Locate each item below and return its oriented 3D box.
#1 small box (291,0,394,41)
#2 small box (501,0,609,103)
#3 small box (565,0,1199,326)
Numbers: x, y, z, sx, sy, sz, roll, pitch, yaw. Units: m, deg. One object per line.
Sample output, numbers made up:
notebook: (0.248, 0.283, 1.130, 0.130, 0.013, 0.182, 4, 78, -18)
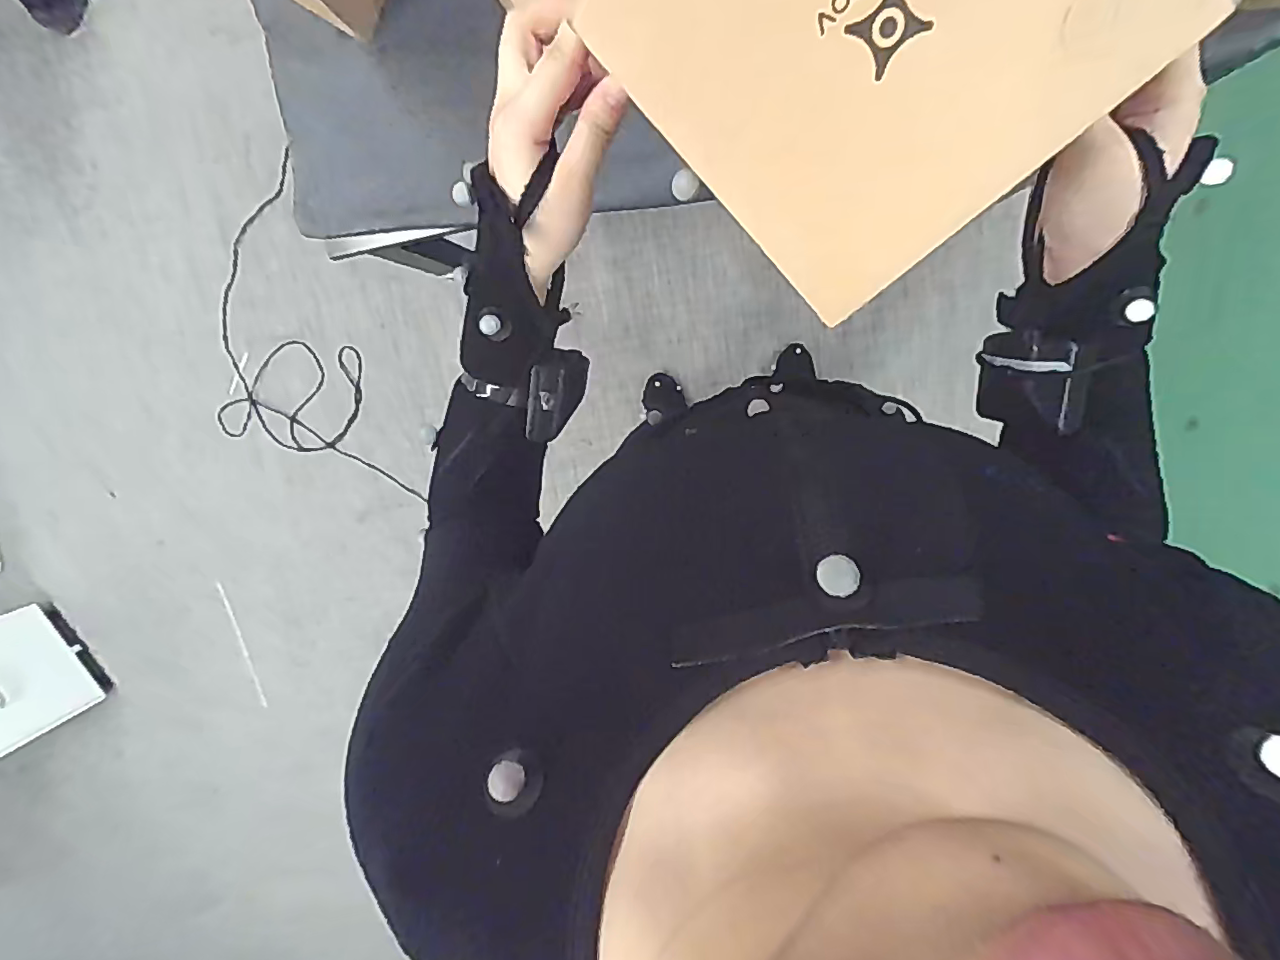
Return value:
small box: (-0.382, -0.643, 0.593, 0.179, 0.176, 0.168, 32, 104, 0)
small box: (-0.069, -0.545, 0.570, 0.168, 0.176, 0.179, -33, 95, 12)
small box: (0.095, -0.218, 0.266, 0.179, 0.176, 0.168, 39, 122, -21)
